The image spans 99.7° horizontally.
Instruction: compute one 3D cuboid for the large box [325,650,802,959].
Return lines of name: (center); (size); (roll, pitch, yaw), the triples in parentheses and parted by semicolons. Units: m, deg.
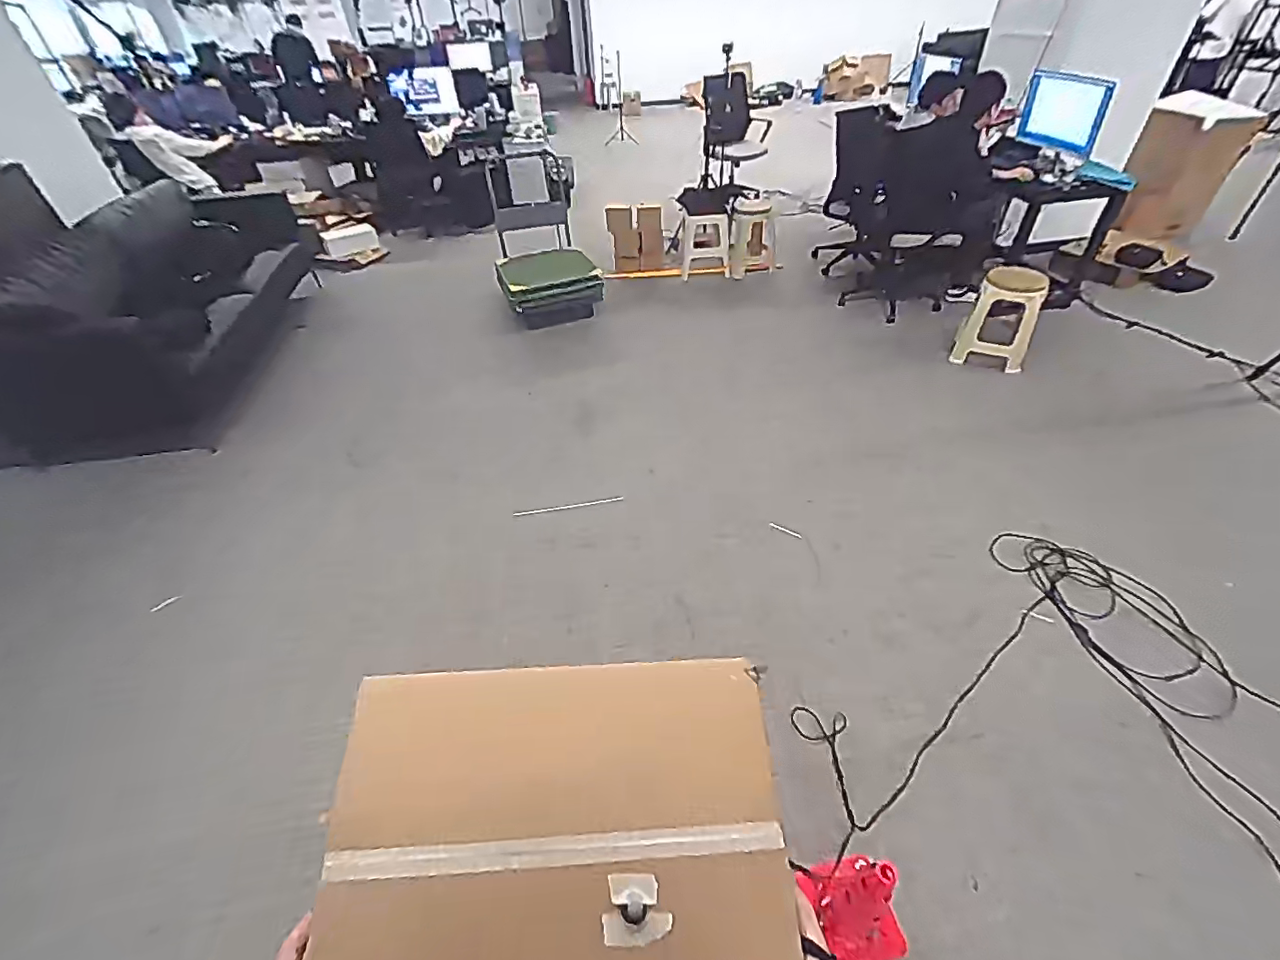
large box: (-0.075, 0.400, 0.622); (0.408, 0.320, 0.320); (-2, 60, -4)
